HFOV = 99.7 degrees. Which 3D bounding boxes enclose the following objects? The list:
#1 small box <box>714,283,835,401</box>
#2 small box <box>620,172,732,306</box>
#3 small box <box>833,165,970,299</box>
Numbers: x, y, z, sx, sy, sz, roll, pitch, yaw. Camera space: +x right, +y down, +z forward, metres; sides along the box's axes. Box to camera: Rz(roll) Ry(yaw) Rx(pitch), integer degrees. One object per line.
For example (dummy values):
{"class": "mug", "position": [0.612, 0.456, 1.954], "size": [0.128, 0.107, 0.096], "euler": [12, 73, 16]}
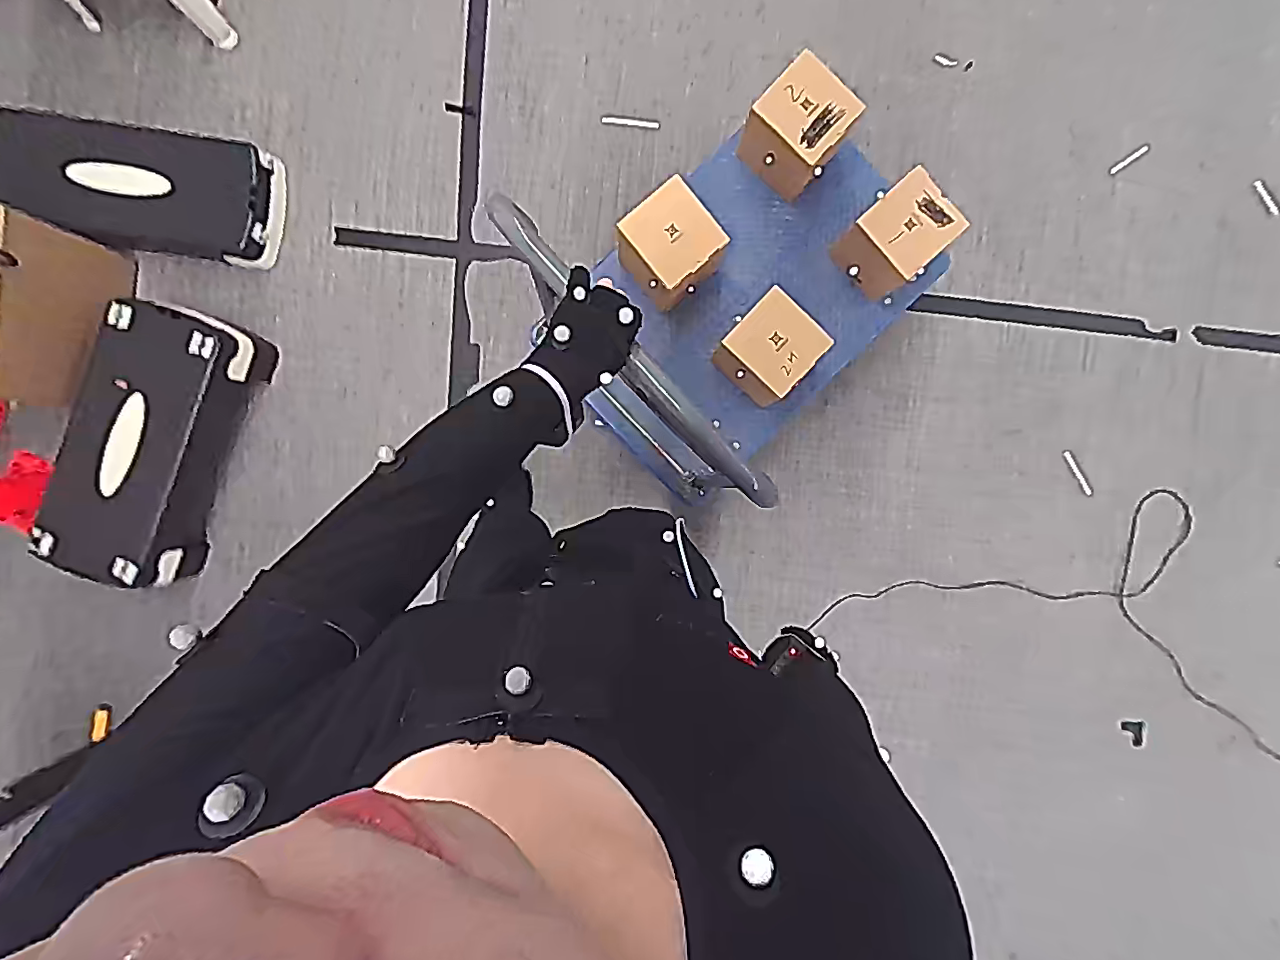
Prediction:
{"class": "small box", "position": [0.285, -0.292, 1.195], "size": [0.179, 0.176, 0.168], "euler": [44, 91, -2]}
{"class": "small box", "position": [0.070, -0.514, 1.182], "size": [0.168, 0.176, 0.179], "euler": [-41, 94, 0]}
{"class": "small box", "position": [0.564, -0.535, 1.192], "size": [0.179, 0.176, 0.168], "euler": [-42, 92, 2]}
